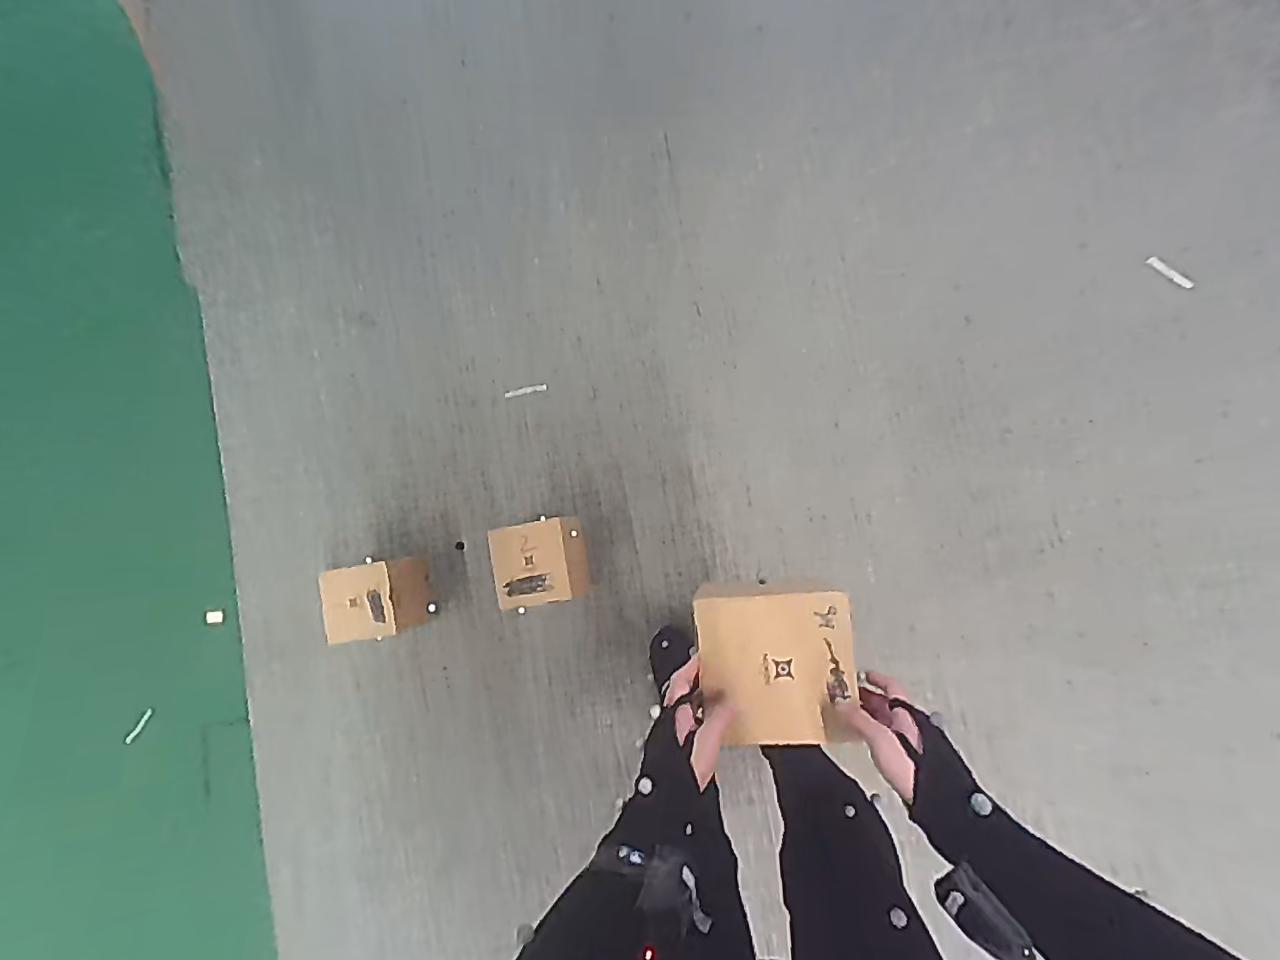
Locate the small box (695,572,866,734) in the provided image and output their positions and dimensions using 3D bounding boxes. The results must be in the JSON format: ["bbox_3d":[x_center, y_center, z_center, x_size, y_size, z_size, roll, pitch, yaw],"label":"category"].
[{"bbox_3d":[0.170,0.205,0.679,0.179,0.176,0.168,-5,83,11],"label":"small box"}]

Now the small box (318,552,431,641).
[{"bbox_3d":[-0.610,0.267,1.267,0.179,0.176,0.168,-10,85,9],"label":"small box"}]
